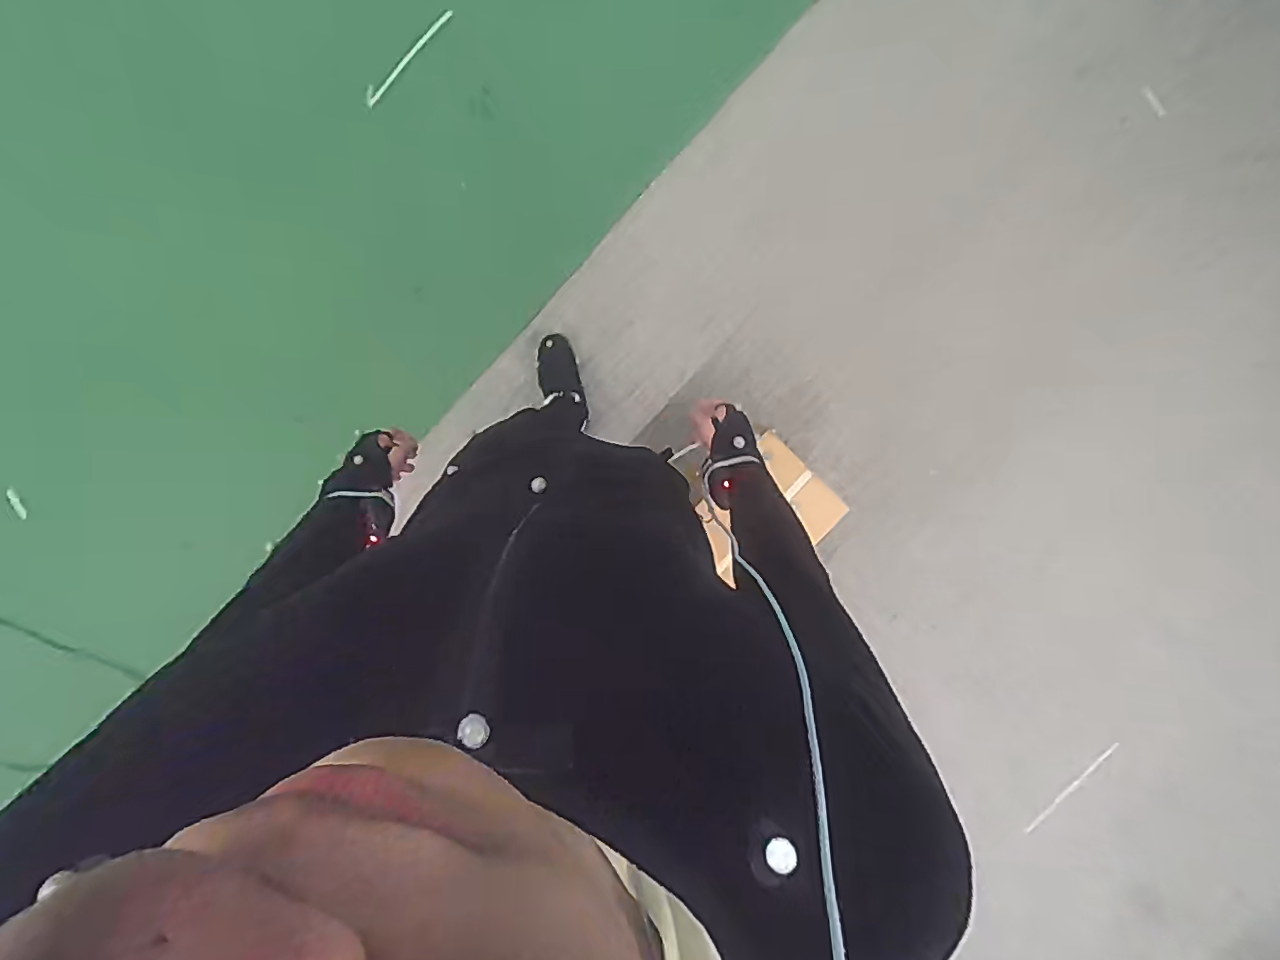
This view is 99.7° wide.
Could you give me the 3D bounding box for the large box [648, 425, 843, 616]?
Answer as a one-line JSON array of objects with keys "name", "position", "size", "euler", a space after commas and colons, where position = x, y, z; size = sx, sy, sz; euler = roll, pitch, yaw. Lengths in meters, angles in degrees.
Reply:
[{"name": "large box", "position": [0.274, 0.094, 1.531], "size": [0.320, 0.320, 0.408], "euler": [42, 93, -11]}]
